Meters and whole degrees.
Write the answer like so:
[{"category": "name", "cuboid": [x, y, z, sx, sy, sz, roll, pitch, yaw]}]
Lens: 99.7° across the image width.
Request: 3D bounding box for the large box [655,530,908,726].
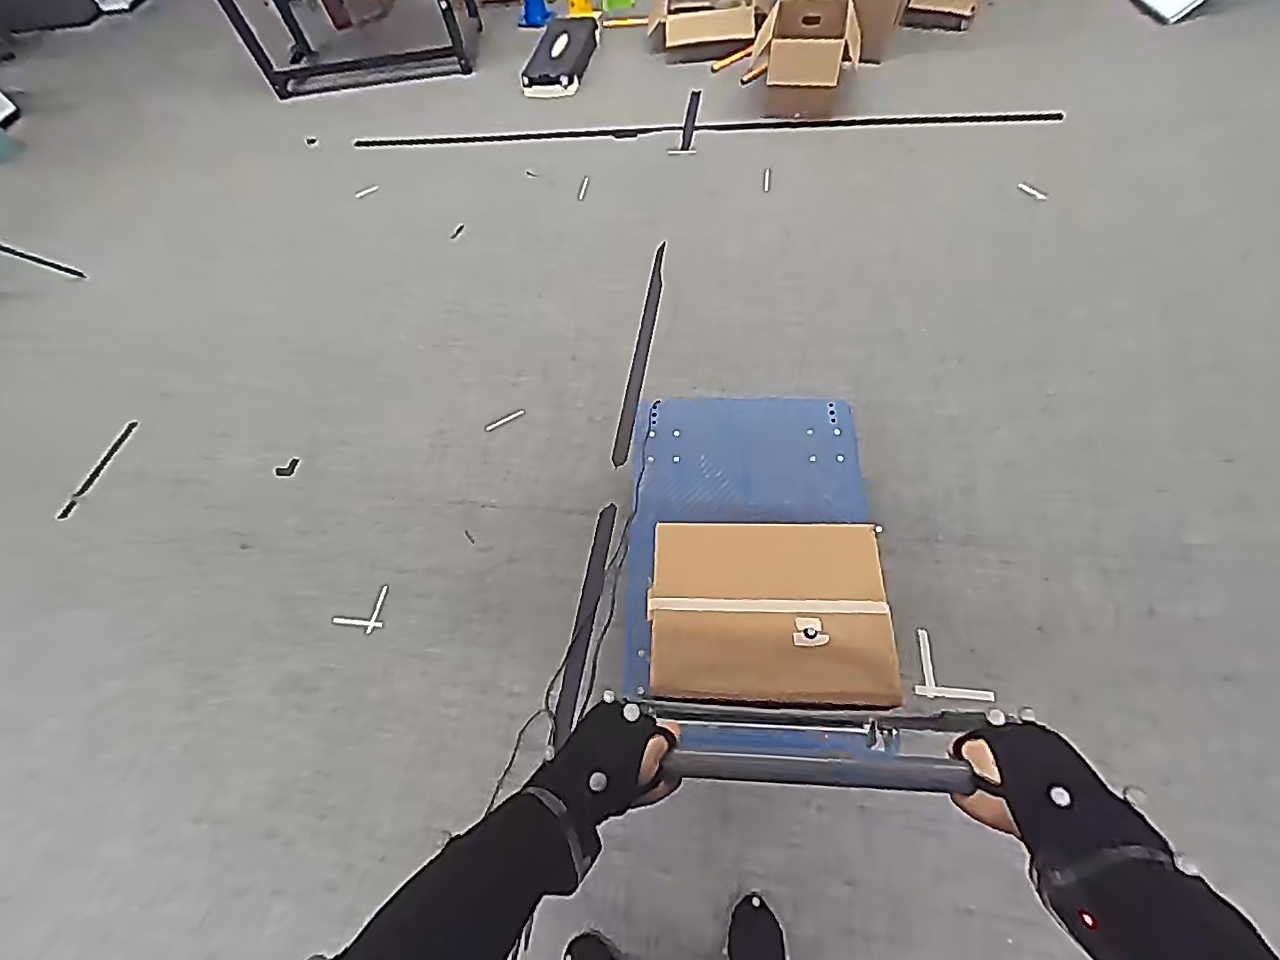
[{"category": "large box", "cuboid": [0.236, 0.299, 1.055, 0.408, 0.320, 0.320, 0, 63, 5]}]
